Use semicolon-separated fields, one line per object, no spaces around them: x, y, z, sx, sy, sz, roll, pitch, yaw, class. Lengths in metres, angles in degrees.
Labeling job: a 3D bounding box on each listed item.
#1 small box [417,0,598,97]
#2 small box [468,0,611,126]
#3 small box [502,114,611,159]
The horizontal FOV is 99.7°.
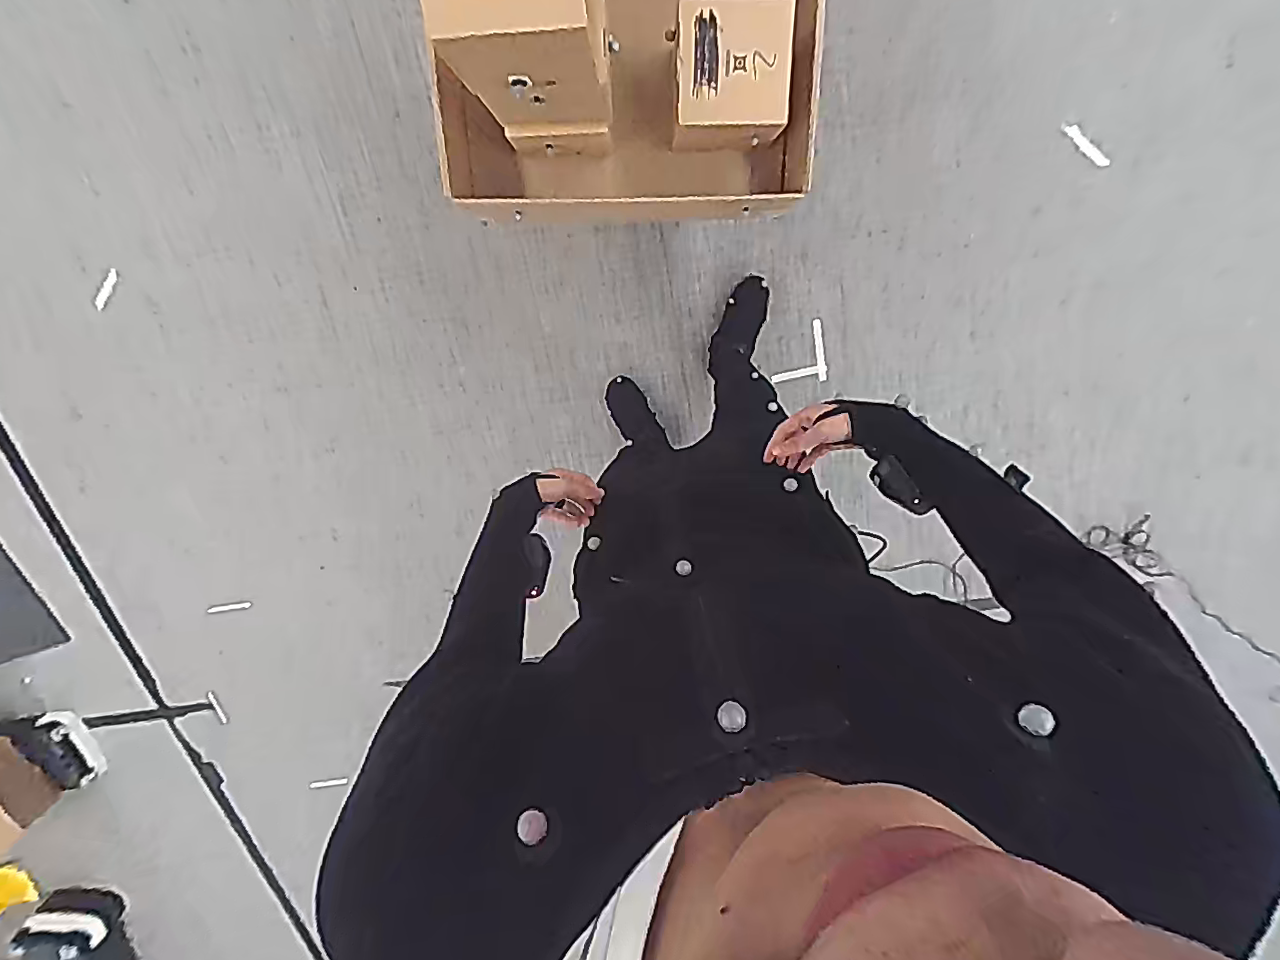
-0.138;-0.550;0.585;0.168;0.176;0.179;-3;108;2;small box
-0.133;-0.603;0.740;0.179;0.176;0.168;-1;109;0;small box
-0.137;-0.648;0.898;0.168;0.176;0.179;-3;108;0;small box
